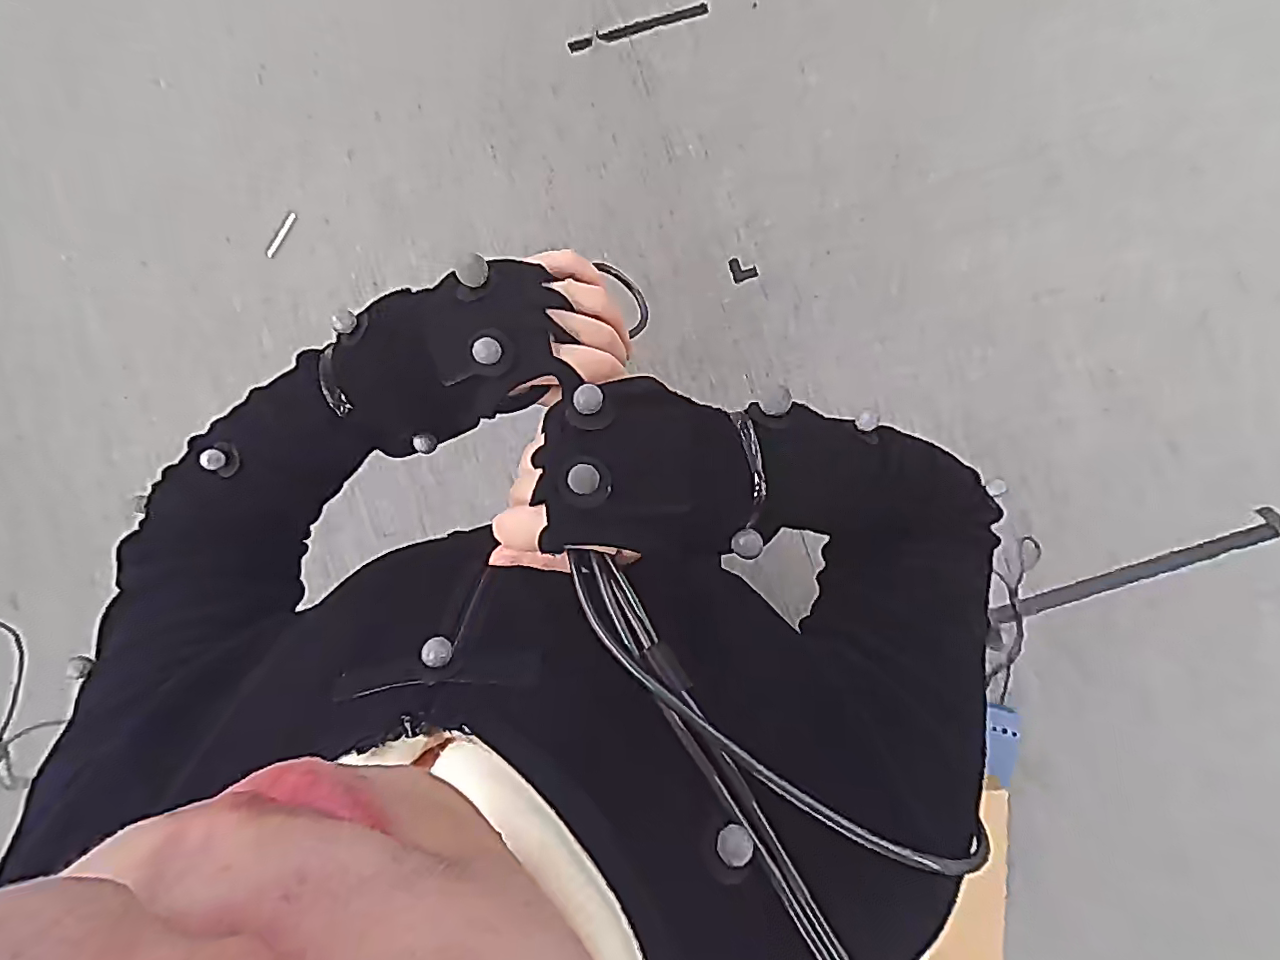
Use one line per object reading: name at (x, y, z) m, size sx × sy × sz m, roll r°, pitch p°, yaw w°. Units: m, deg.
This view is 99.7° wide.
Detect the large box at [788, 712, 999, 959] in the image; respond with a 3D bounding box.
large box at (0.515, 0.759, 1.162) m, size 0.320 × 0.320 × 0.408 m, roll 2°, pitch 91°, yaw 0°
